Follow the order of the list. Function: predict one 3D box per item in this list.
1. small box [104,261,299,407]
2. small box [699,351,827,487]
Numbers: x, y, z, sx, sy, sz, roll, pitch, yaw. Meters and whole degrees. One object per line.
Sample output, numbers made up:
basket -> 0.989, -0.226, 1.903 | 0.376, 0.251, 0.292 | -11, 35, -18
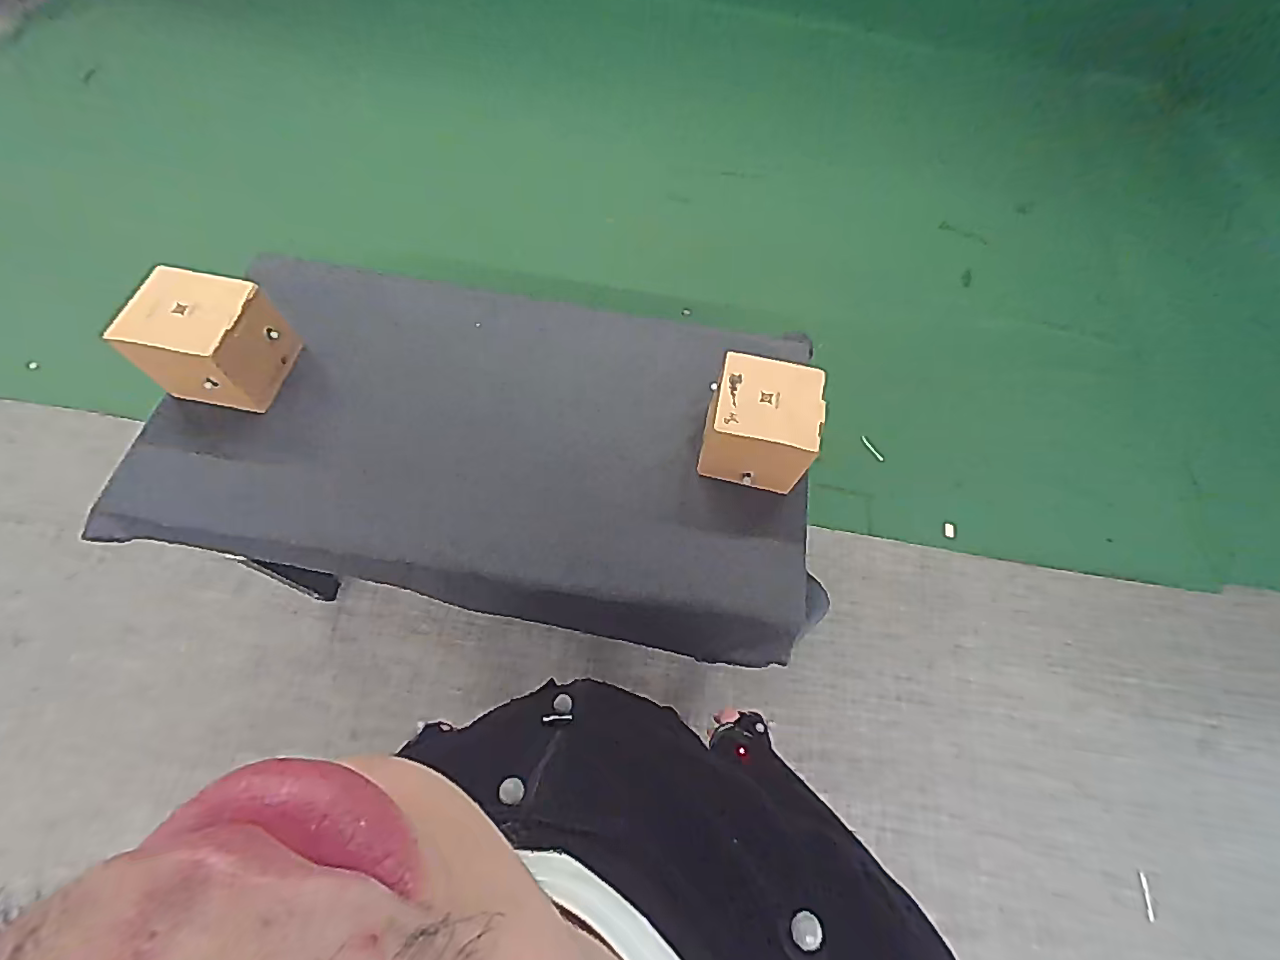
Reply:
small box -> -0.751, -0.249, 0.955 | 0.179, 0.176, 0.168 | 12, 62, 1
small box -> 0.217, -0.101, 0.978 | 0.179, 0.176, 0.168 | 13, 65, 1
